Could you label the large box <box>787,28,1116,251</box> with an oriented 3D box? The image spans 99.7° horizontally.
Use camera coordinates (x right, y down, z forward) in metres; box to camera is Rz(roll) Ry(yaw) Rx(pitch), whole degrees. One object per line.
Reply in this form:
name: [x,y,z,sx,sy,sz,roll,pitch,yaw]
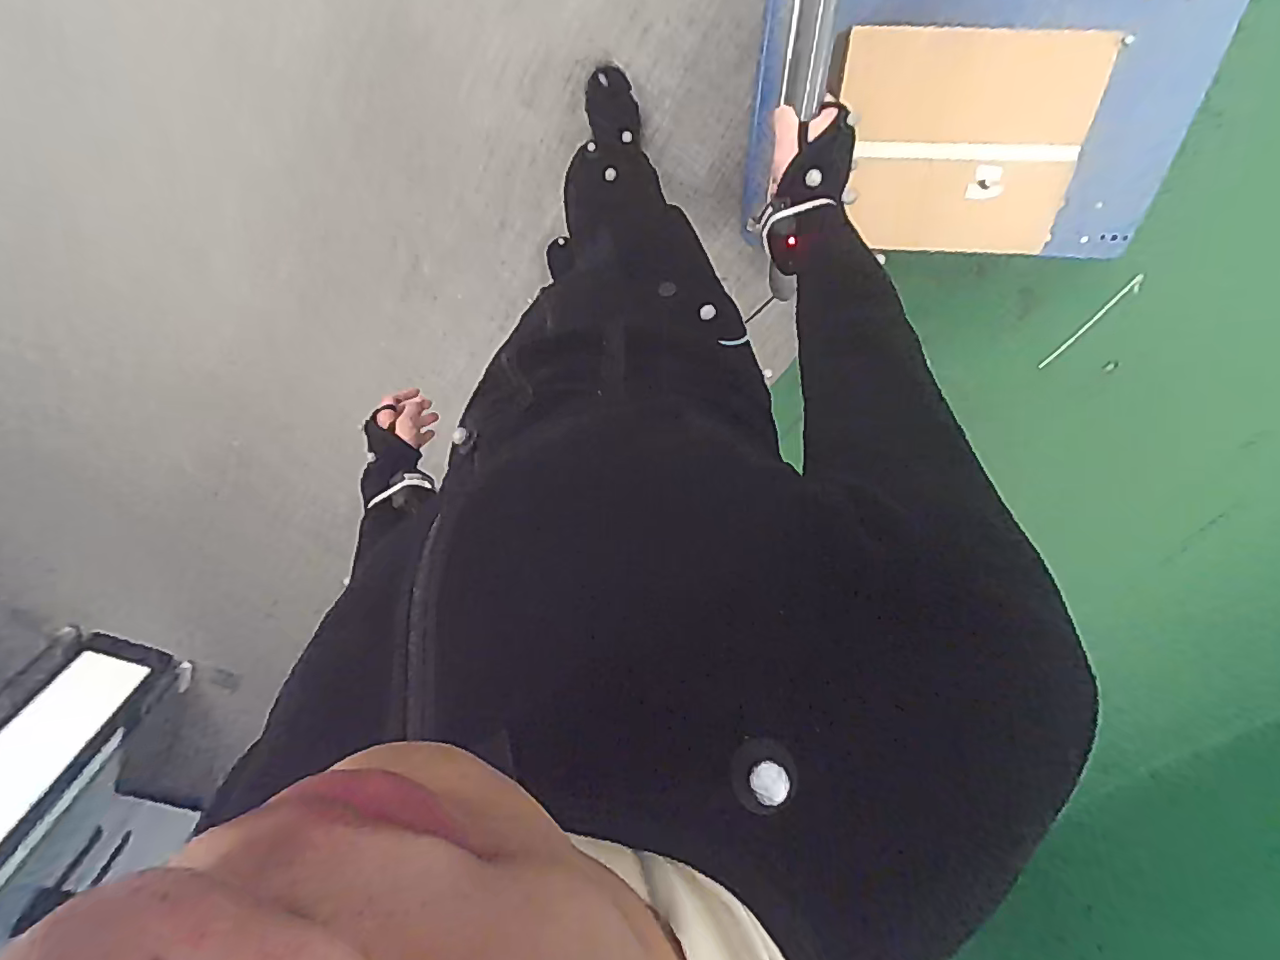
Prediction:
large box: [0.526,-0.629,1.026,0.408,0.320,0.320,3,123,1]
